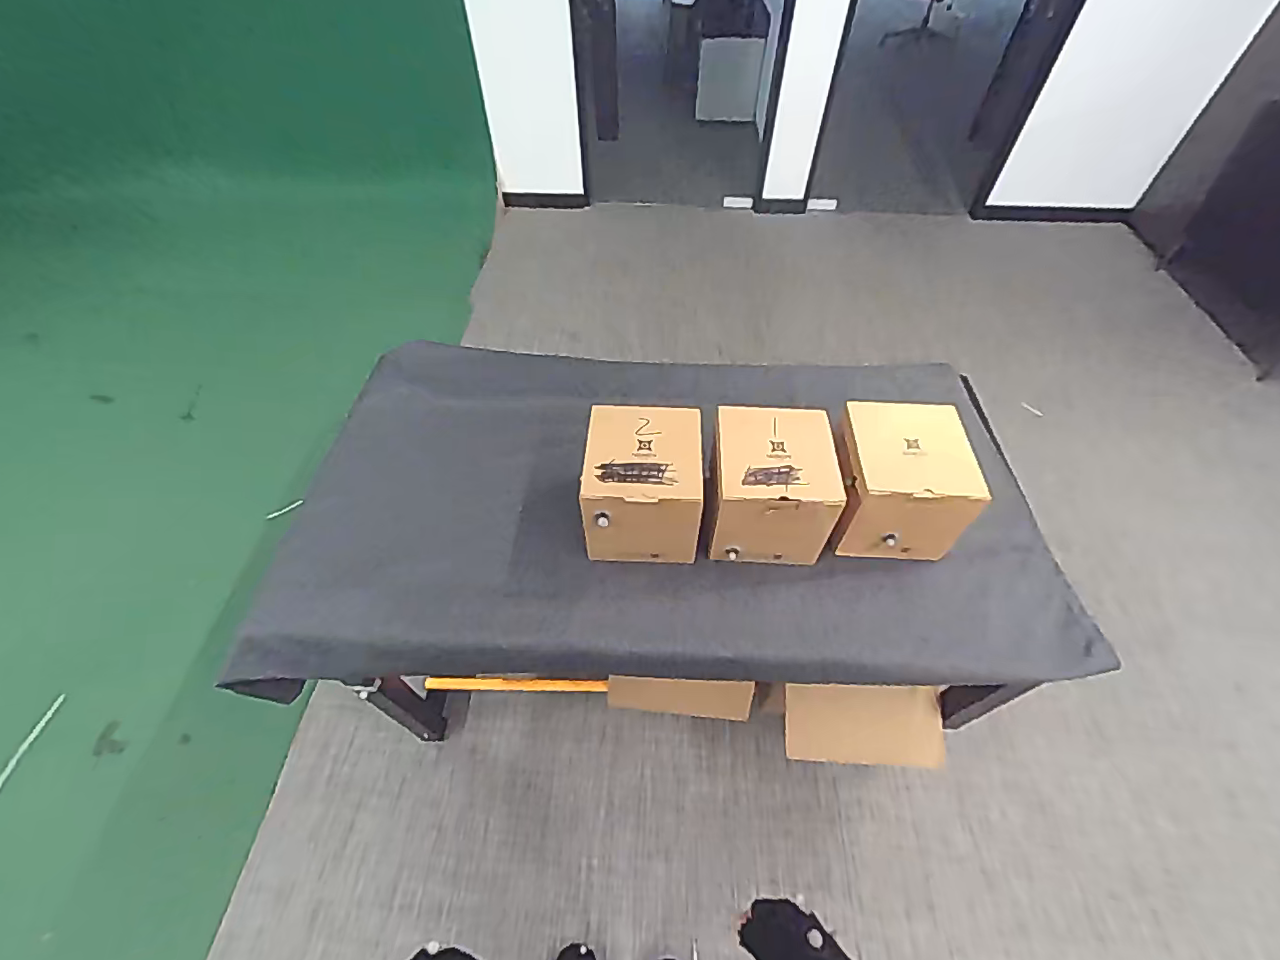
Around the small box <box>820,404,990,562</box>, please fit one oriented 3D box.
[{"bbox_3d":[0.389,0.005,0.834,0.168,0.176,0.179,3,53,2],"label":"small box"}]
